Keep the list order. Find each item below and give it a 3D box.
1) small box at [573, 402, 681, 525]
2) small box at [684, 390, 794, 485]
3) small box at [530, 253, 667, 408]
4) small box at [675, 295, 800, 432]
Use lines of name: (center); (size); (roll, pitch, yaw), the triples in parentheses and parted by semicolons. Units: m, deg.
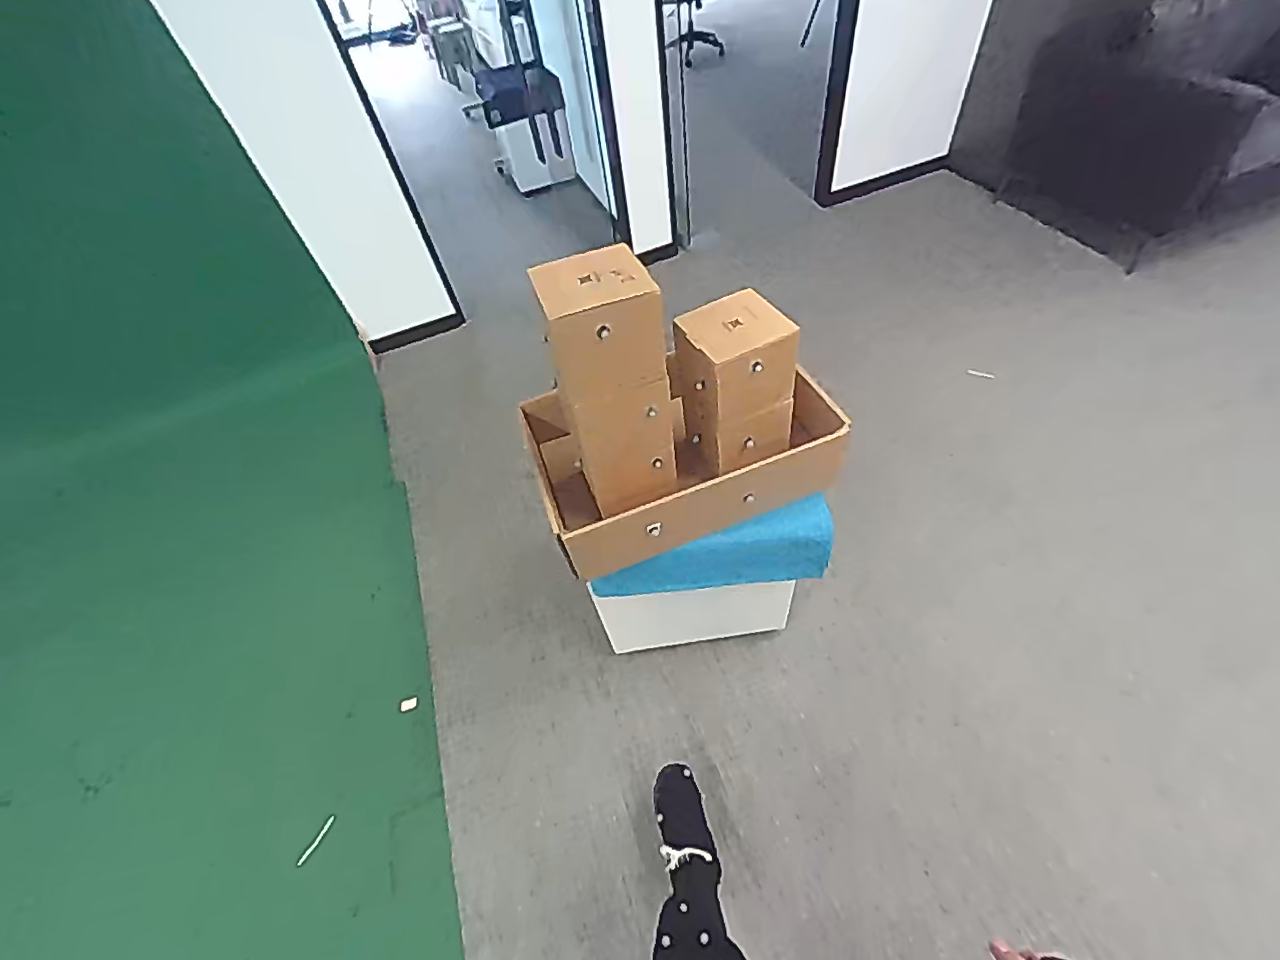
small box: (-0.024, -0.032, 1.150); (0.179, 0.176, 0.168); (-20, 49, -9)
small box: (0.217, -0.119, 1.173); (0.179, 0.176, 0.168); (-25, 50, -7)
small box: (-0.065, -0.245, 0.903); (0.179, 0.176, 0.168); (-18, 50, -8)
small box: (0.189, -0.222, 1.050); (0.179, 0.176, 0.168); (-24, 50, -9)
